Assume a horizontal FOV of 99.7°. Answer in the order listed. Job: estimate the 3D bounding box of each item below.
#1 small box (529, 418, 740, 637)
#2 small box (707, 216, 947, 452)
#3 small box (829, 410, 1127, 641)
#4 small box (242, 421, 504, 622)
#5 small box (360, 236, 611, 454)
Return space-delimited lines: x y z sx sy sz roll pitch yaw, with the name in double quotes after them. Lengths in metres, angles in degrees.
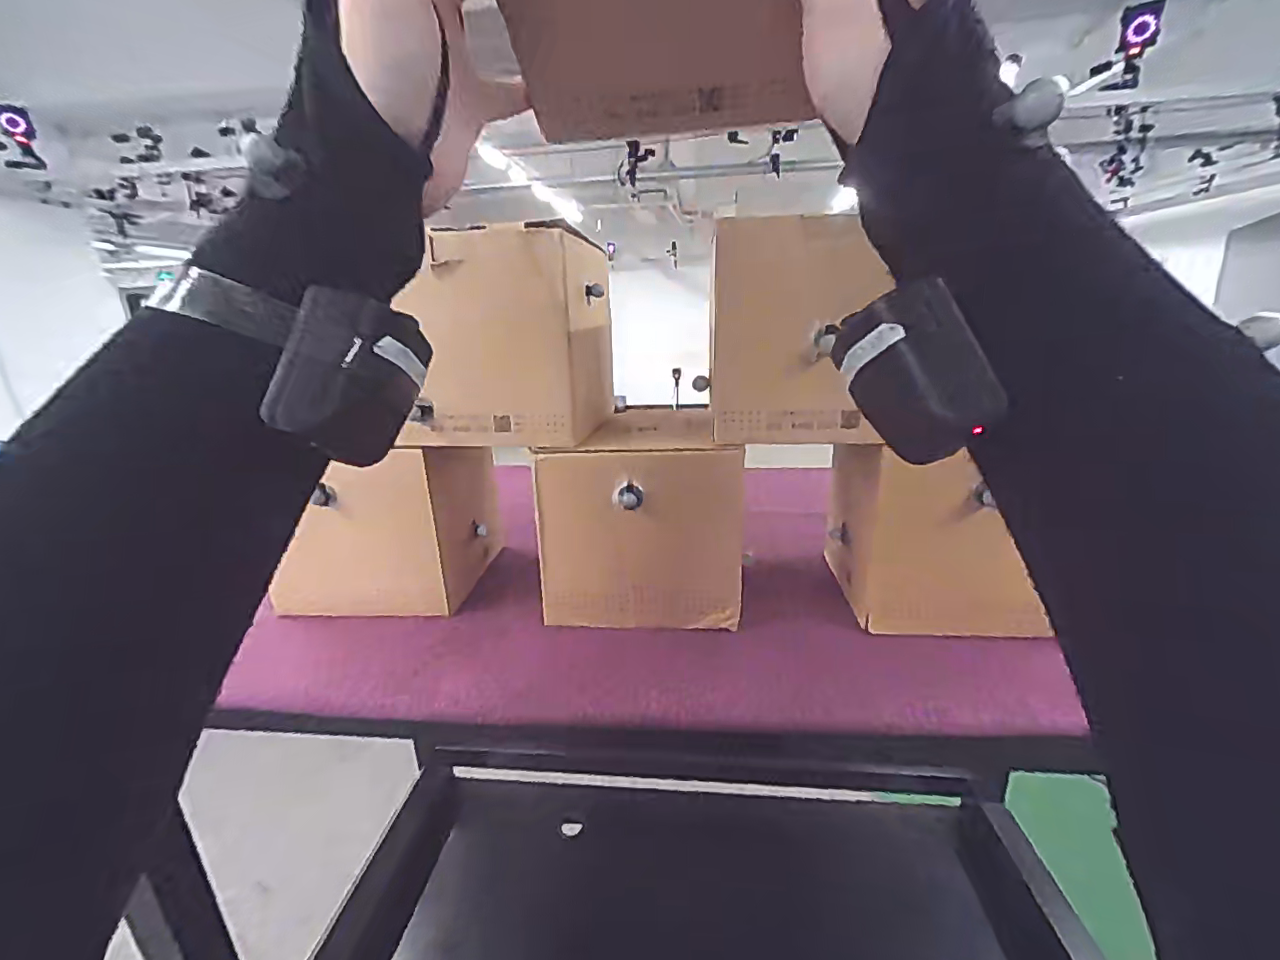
0.006 0.038 0.530 0.179 0.176 0.168 0 17 7 "small box"
0.143 -0.123 0.478 0.168 0.176 0.179 0 17 7 "small box"
0.283 0.035 0.501 0.179 0.176 0.168 -2 16 7 "small box"
-0.259 0.035 0.569 0.179 0.176 0.168 -1 18 5 "small box"
-0.123 -0.123 0.510 0.168 0.176 0.179 1 16 8 "small box"
